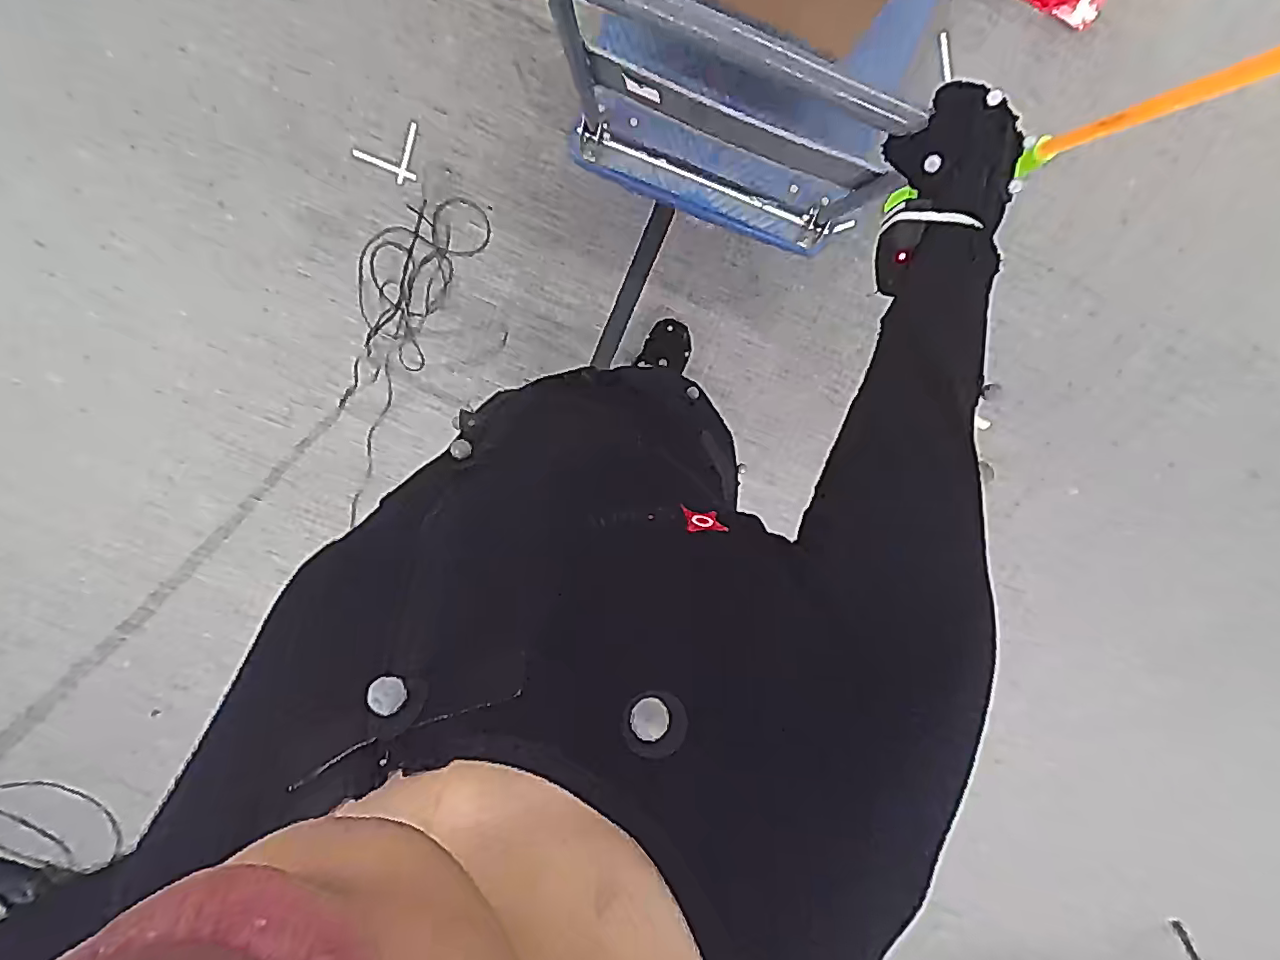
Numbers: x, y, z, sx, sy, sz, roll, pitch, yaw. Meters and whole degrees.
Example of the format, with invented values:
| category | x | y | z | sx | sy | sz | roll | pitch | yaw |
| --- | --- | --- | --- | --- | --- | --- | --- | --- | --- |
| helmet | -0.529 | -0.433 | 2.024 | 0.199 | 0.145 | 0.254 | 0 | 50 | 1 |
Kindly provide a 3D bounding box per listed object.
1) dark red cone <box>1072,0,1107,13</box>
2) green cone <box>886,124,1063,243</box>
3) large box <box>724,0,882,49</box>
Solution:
| category | x | y | z | sx | sy | sz | roll | pitch | yaw |
| --- | --- | --- | --- | --- | --- | --- | --- | --- | --- |
| dark red cone | 0.905 | -1.039 | 0.935 | 0.201 | 0.394 | 0.202 | 22 | 108 | -8 |
| green cone | 0.698 | -0.629 | 1.091 | 0.202 | 0.368 | 0.200 | 26 | 107 | -8 |
| large box | 0.252 | -0.975 | 0.840 | 0.408 | 0.320 | 0.320 | 21 | 108 | -5 |
